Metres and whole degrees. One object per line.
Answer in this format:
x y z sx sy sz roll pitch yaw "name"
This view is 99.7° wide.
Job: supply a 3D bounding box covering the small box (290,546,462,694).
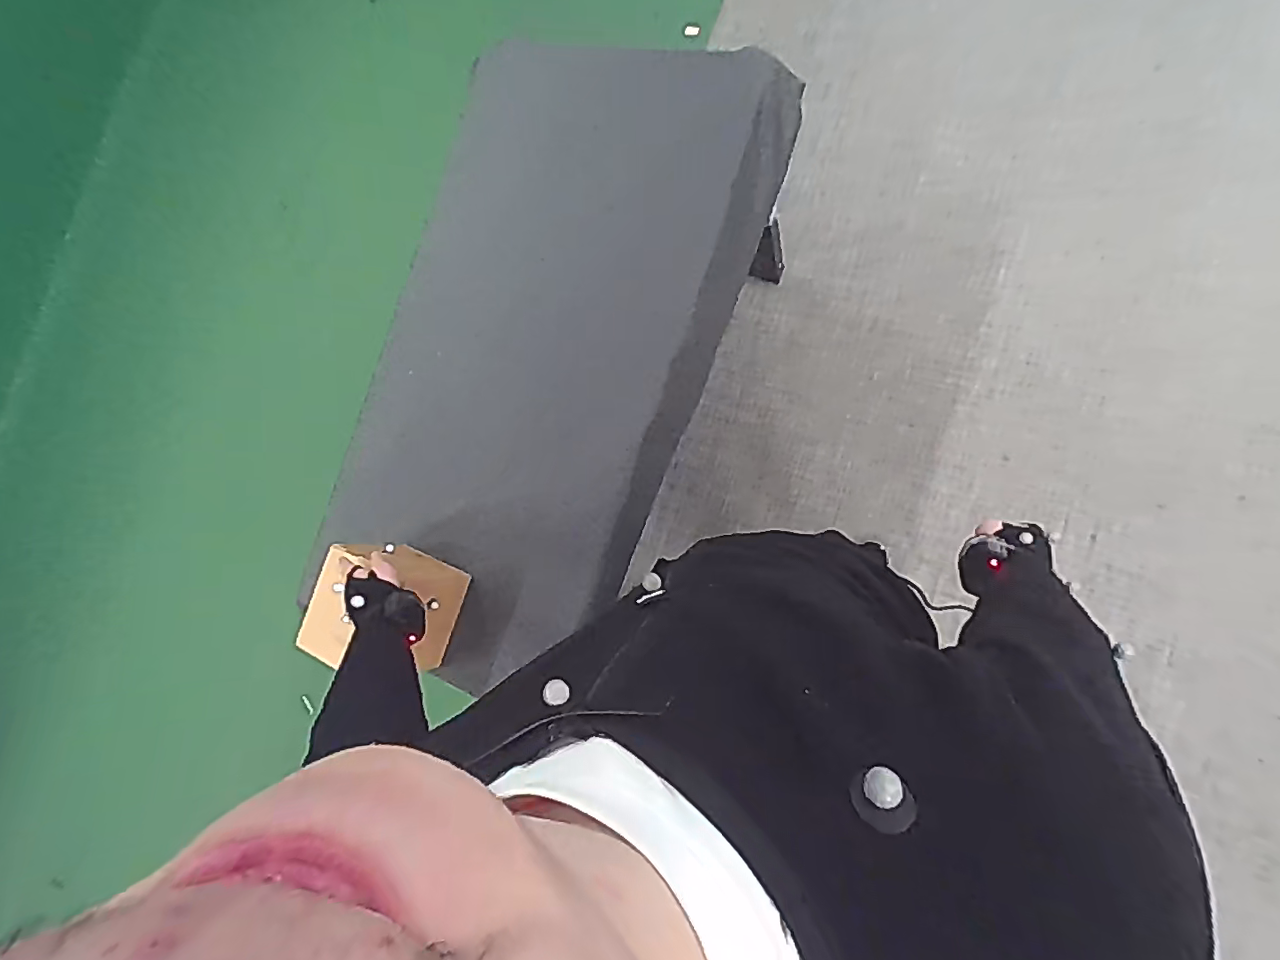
-0.430 0.224 0.908 0.168 0.176 0.179 21 89 22 "small box"
